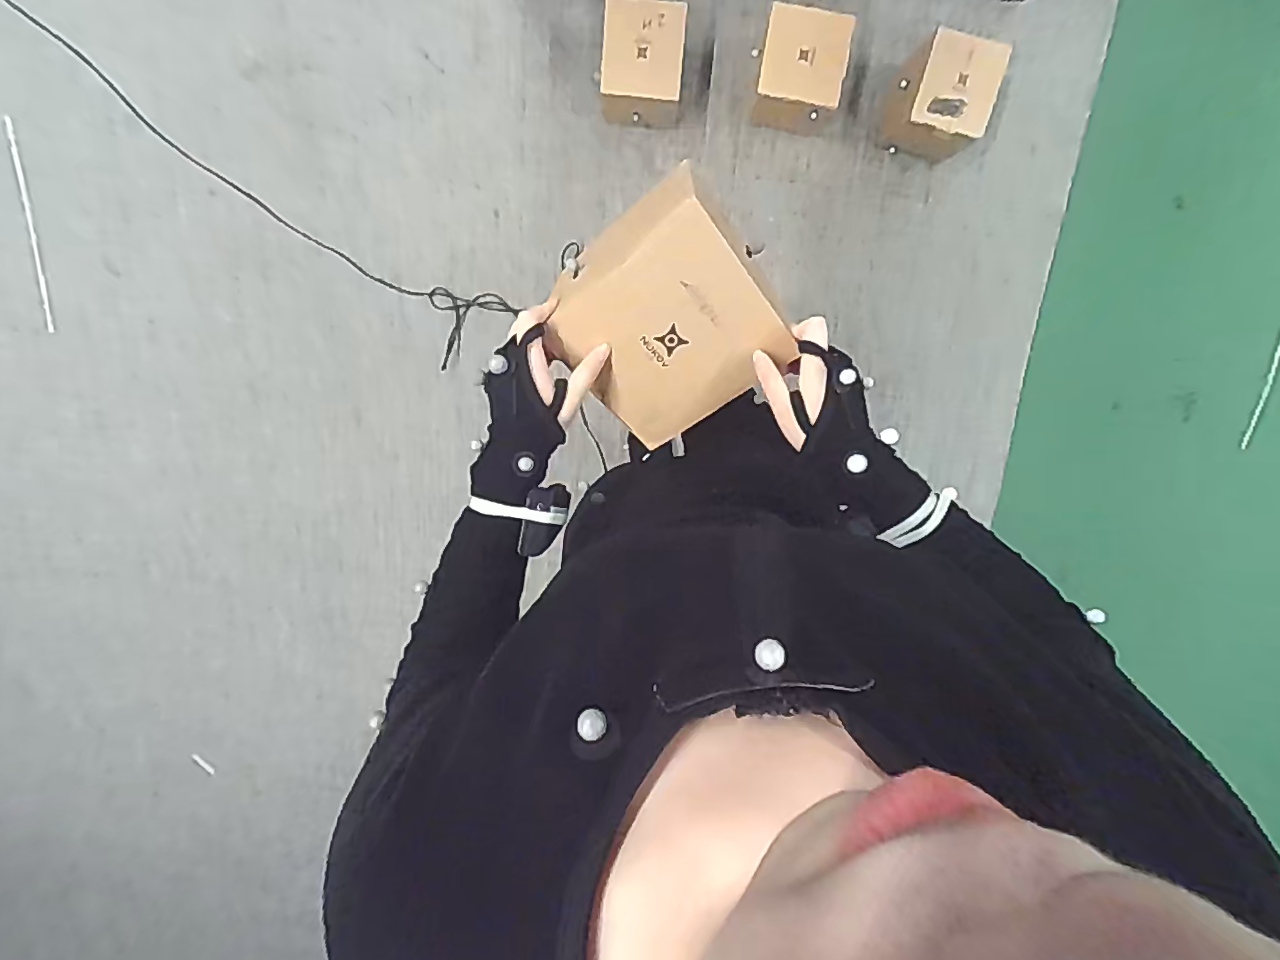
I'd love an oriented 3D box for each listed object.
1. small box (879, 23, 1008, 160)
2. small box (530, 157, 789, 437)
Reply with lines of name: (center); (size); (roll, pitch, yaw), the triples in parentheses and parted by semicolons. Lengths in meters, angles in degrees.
small box: (0.657, -0.842, 1.195); (0.168, 0.176, 0.179); (12, 99, -5)
small box: (0.022, -0.181, 0.538); (0.179, 0.176, 0.168); (-32, 121, 25)
